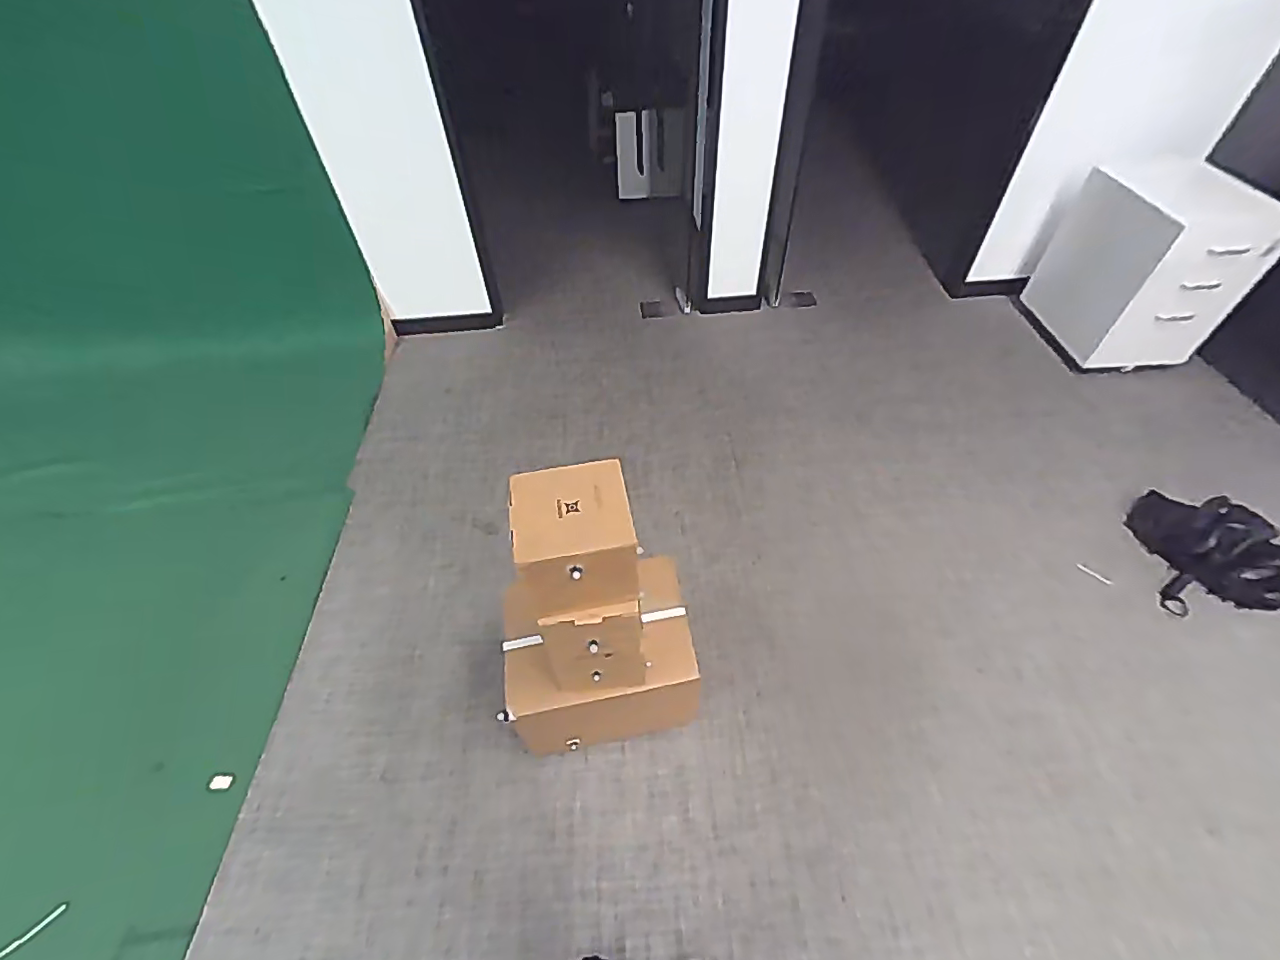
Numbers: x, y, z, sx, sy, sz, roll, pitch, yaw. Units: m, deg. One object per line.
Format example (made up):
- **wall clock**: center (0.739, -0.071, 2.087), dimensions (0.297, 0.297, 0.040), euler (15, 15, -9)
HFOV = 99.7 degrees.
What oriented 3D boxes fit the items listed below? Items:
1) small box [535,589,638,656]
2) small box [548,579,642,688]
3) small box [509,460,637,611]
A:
- **small box**: center (-0.092, 0.208, 0.986), dimensions (0.168, 0.176, 0.179), euler (-5, 50, -2)
- **small box**: center (-0.088, 0.313, 1.110), dimensions (0.179, 0.176, 0.168), euler (-5, 50, -2)
- **small box**: center (-0.104, 0.093, 0.870), dimensions (0.179, 0.176, 0.168), euler (-9, 51, -7)
